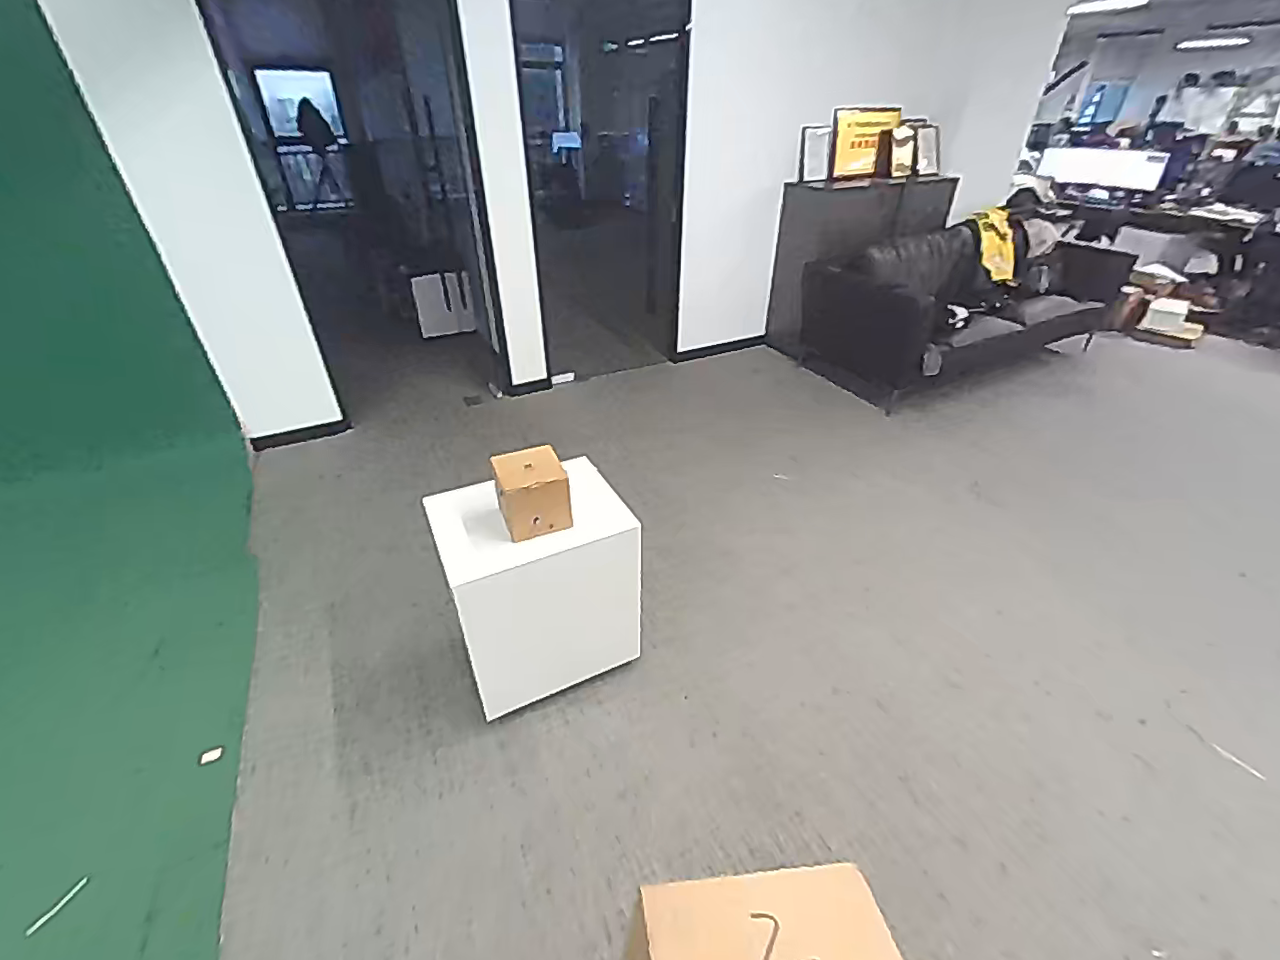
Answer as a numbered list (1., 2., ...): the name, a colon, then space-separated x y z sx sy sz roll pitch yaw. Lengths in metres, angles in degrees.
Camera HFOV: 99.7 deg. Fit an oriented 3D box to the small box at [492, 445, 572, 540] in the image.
1. small box: -0.288 0.032 1.440 0.168 0.176 0.179 -15 37 -20
